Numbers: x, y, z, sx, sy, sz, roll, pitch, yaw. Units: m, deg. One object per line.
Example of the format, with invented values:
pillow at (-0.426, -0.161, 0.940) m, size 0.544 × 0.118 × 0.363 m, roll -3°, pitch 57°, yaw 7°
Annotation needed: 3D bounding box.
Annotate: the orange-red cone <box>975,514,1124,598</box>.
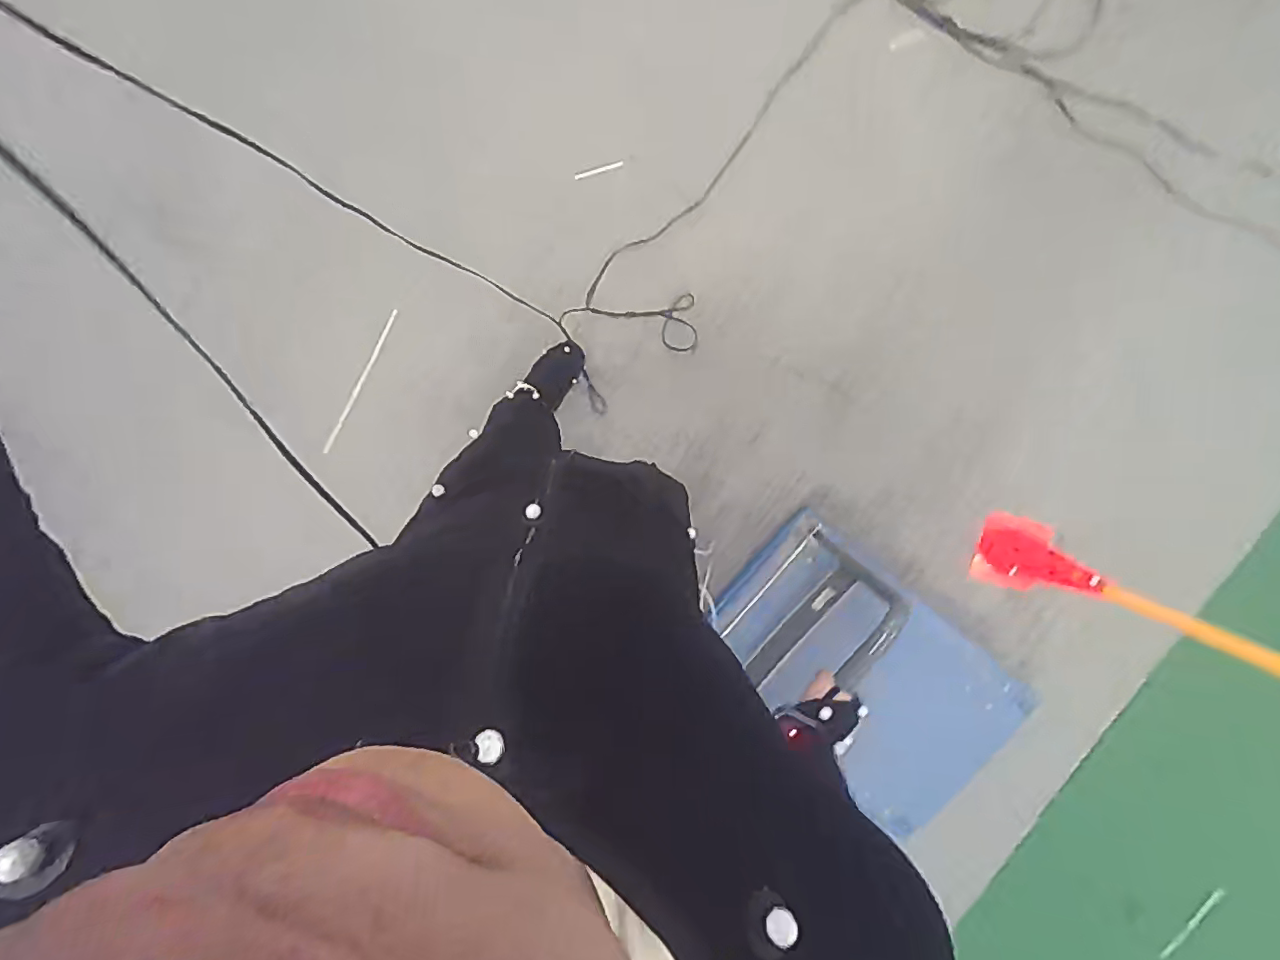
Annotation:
orange-red cone at (1.112, 0.234, 1.437) m, size 0.198 × 0.360 × 0.199 m, roll 16°, pitch 96°, yaw -2°
